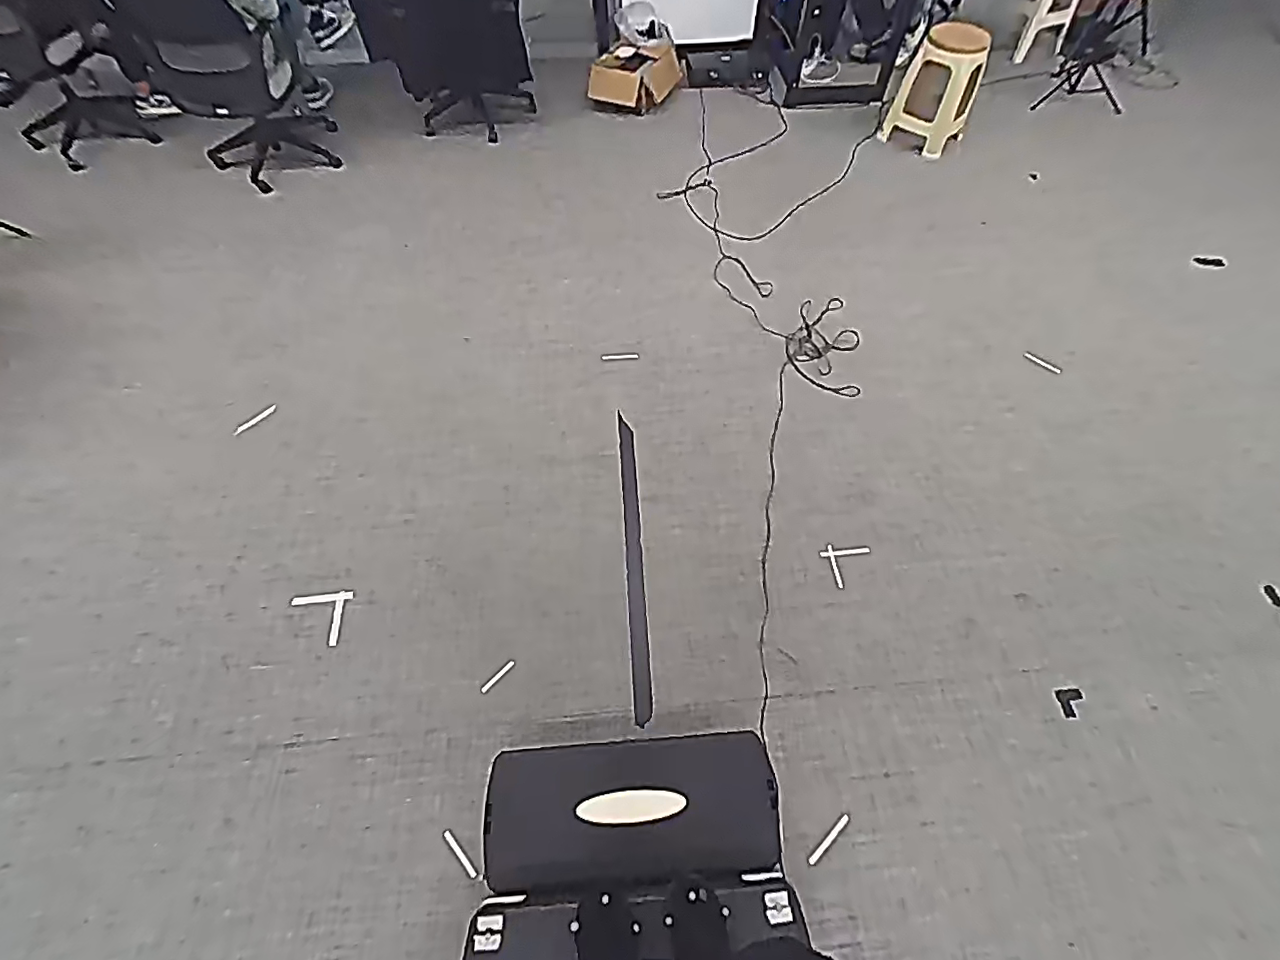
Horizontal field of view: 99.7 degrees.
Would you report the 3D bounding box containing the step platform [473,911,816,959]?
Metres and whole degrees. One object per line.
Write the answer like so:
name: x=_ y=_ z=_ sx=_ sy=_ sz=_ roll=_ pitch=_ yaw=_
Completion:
step platform: x=0.010 y=1.019 z=1.038 sx=0.684 sy=0.204 sz=0.286 roll=-1 pitch=56 yaw=2
